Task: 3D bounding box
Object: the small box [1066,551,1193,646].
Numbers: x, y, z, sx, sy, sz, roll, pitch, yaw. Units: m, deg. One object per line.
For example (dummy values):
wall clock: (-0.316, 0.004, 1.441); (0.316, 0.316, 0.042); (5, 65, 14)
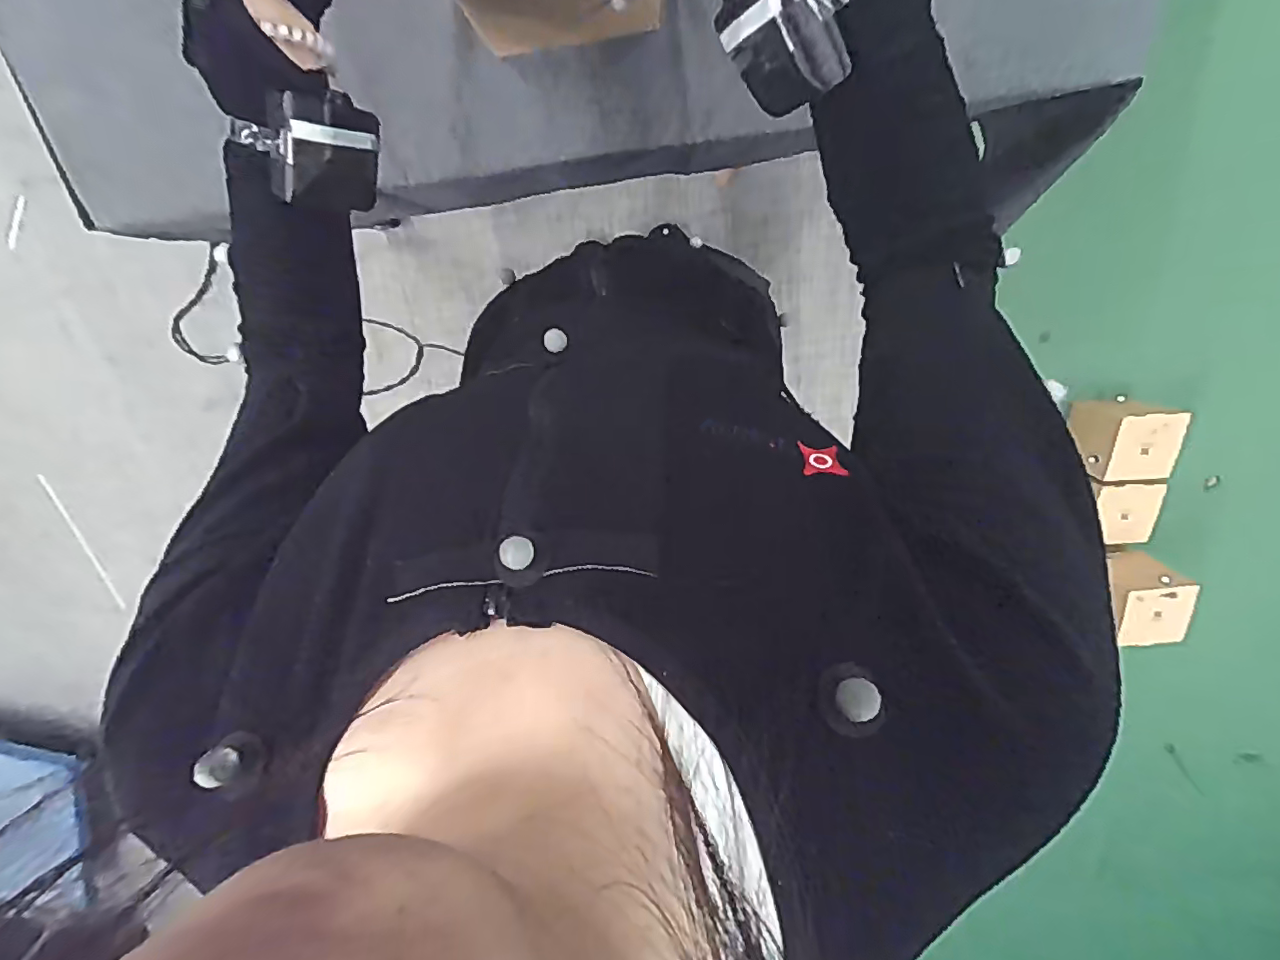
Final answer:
small box: (1.275, 0.308, 1.426); (0.168, 0.176, 0.179); (-6, 114, 2)
